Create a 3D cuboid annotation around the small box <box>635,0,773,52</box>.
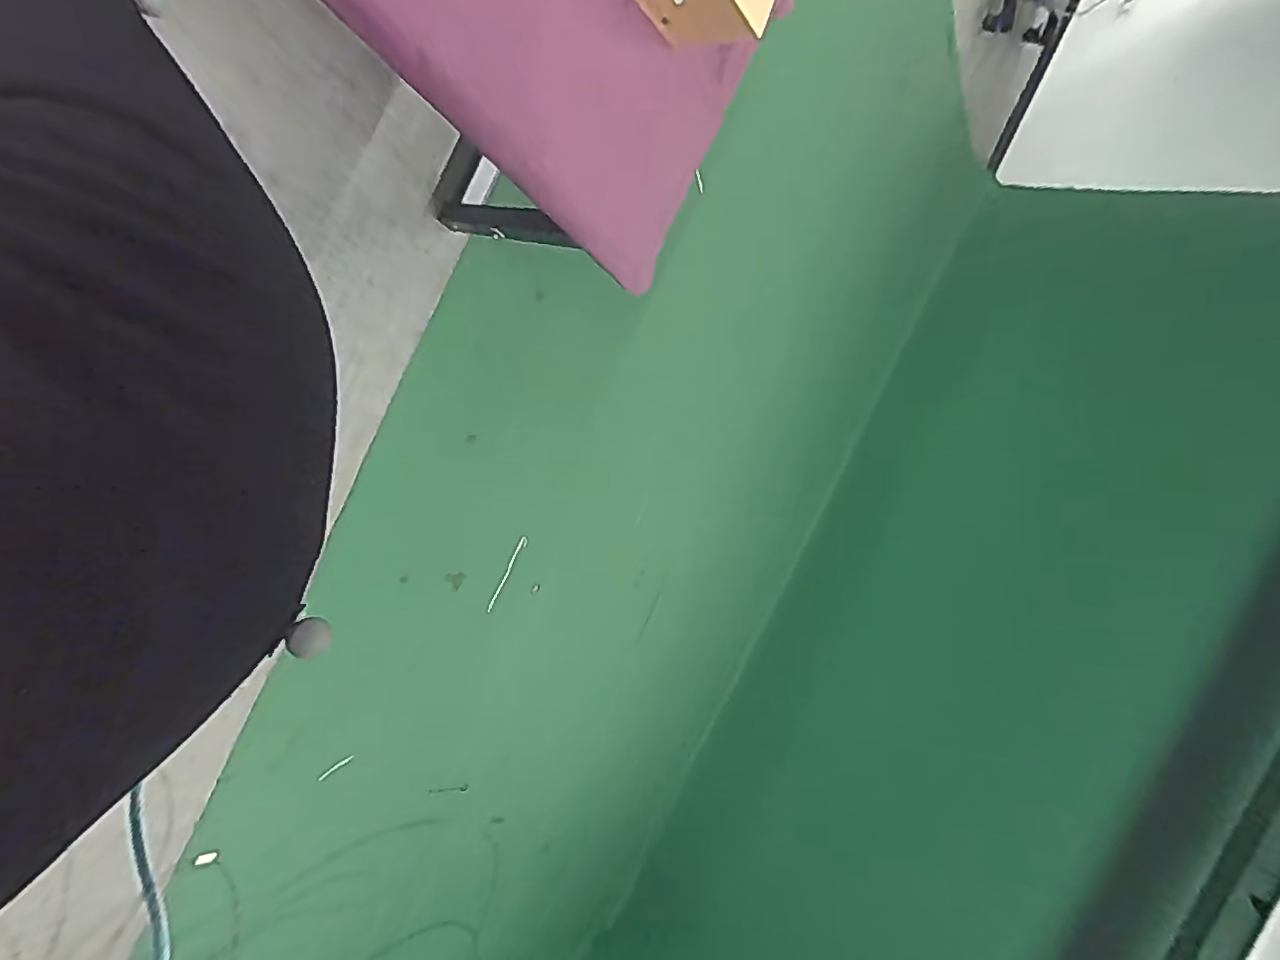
[{"bbox_3d":[0.090,-0.747,0.754,0.168,0.176,0.179,10,103,-50],"label":"small box"}]
